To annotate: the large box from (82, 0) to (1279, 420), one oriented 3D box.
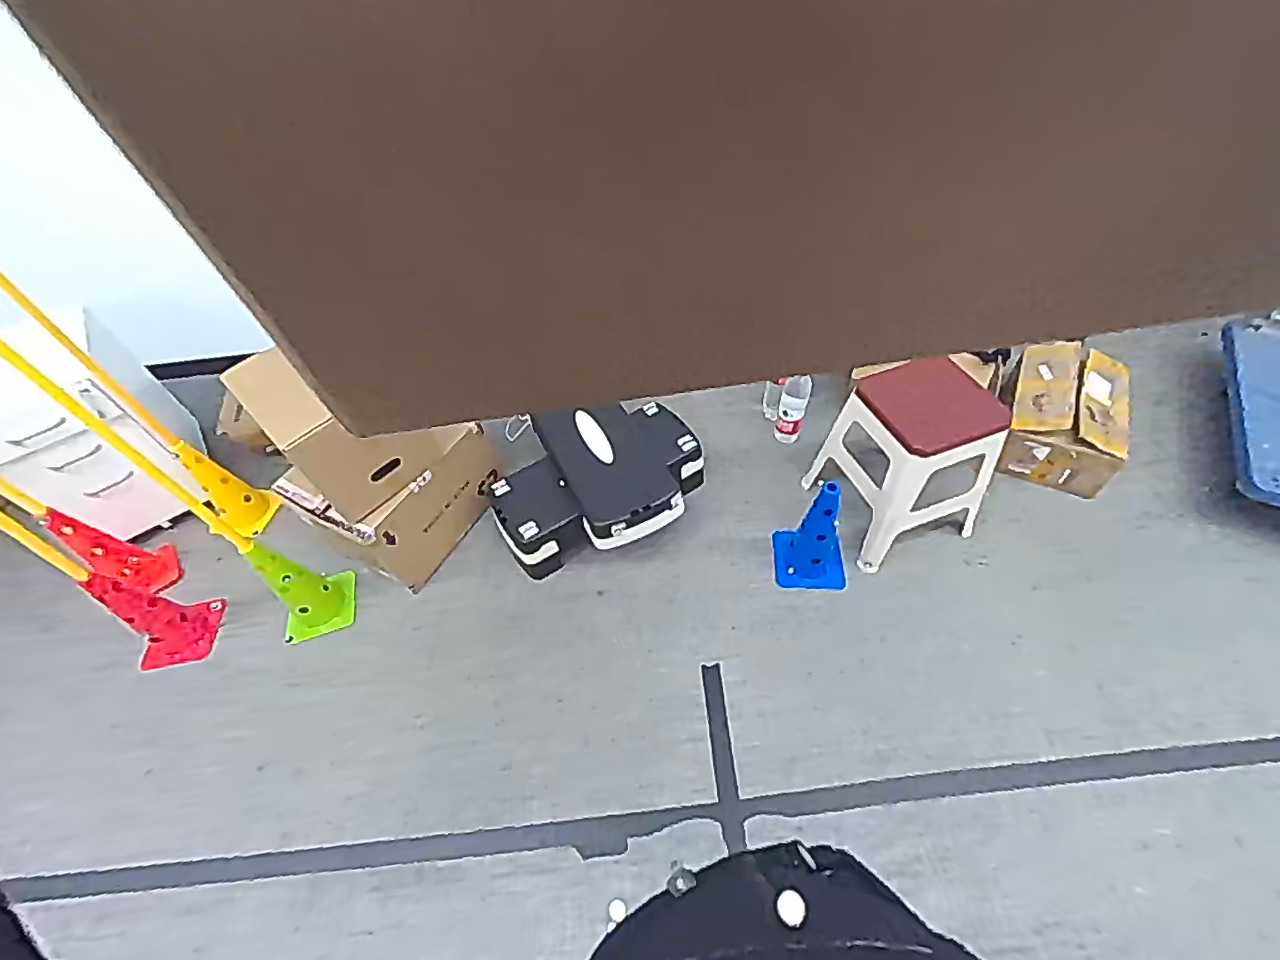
[{"bbox_3d":[0.041,-0.258,0.223,0.408,0.320,0.320,-7,51,2],"label":"large box"}]
